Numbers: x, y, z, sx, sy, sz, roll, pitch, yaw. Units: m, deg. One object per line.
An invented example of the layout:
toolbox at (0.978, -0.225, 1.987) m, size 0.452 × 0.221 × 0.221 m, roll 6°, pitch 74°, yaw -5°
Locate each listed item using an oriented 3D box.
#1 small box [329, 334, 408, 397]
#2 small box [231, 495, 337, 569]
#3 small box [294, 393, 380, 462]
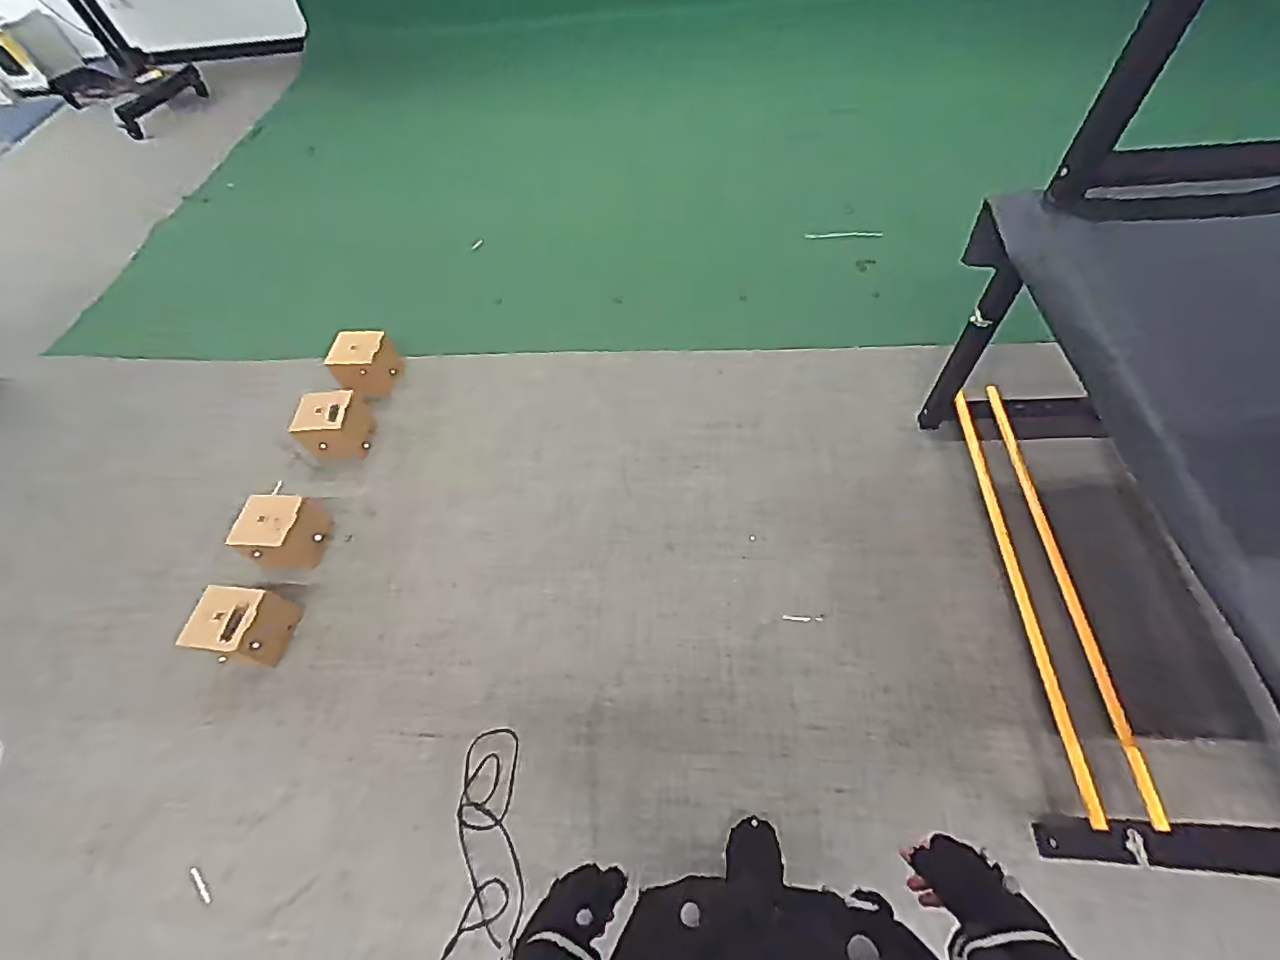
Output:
small box at (-1.001, -0.421, 2.008) m, size 0.179 × 0.176 × 0.168 m, roll 0°, pitch 58°, yaw 6°
small box at (-1.063, 0.160, 1.631) m, size 0.179 × 0.176 × 0.168 m, roll 2°, pitch 58°, yaw 6°
small box at (-1.026, -0.176, 1.849) m, size 0.179 × 0.176 × 0.168 m, roll -3°, pitch 56°, yaw 5°
